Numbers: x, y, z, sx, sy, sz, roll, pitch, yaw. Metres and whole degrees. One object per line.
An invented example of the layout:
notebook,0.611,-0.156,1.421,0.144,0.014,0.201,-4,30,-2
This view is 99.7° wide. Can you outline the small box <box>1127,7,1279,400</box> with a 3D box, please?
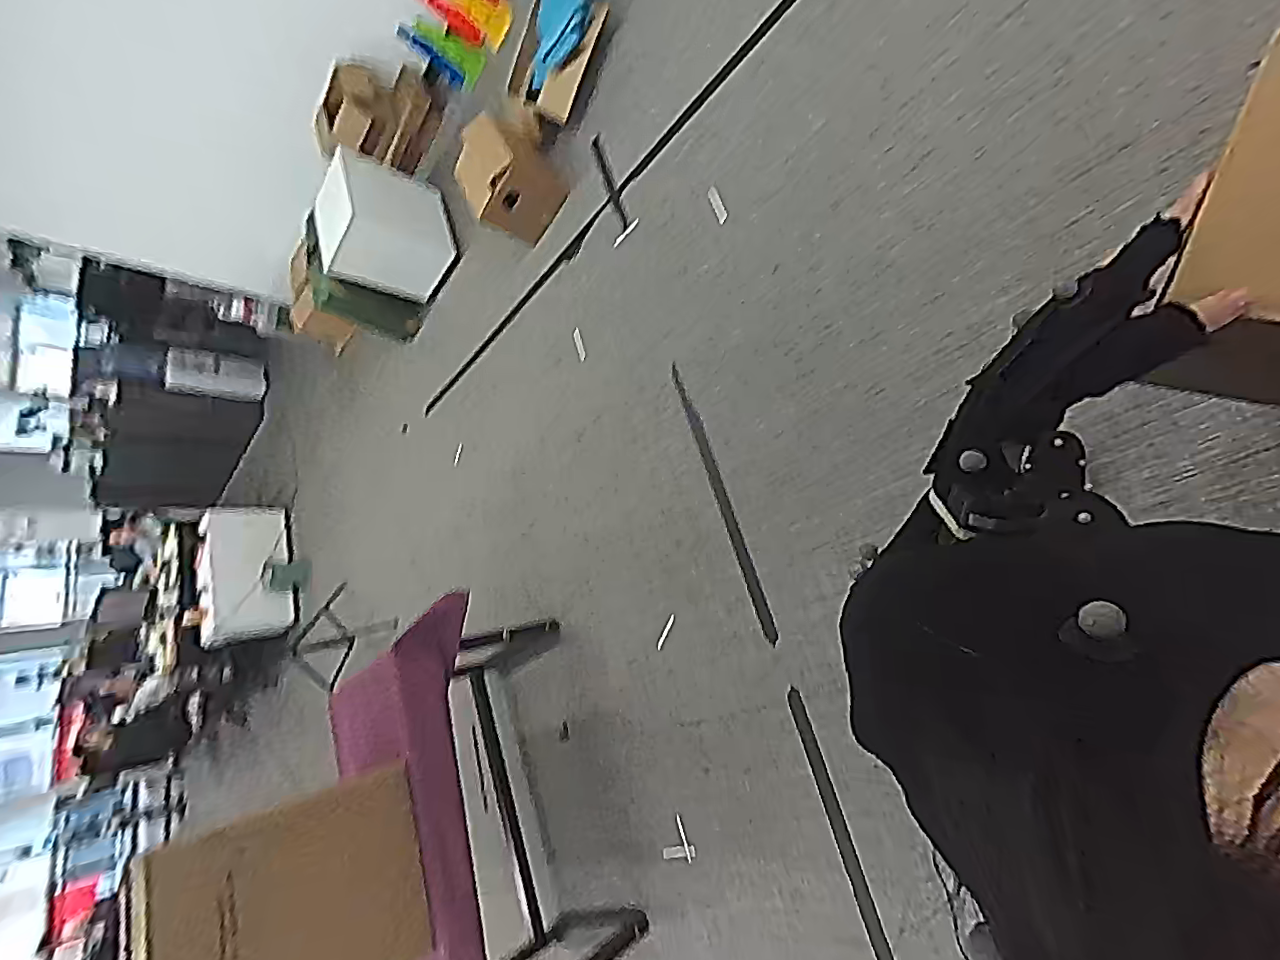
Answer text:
small box,0.423,-0.141,0.305,0.179,0.176,0.168,21,96,36
